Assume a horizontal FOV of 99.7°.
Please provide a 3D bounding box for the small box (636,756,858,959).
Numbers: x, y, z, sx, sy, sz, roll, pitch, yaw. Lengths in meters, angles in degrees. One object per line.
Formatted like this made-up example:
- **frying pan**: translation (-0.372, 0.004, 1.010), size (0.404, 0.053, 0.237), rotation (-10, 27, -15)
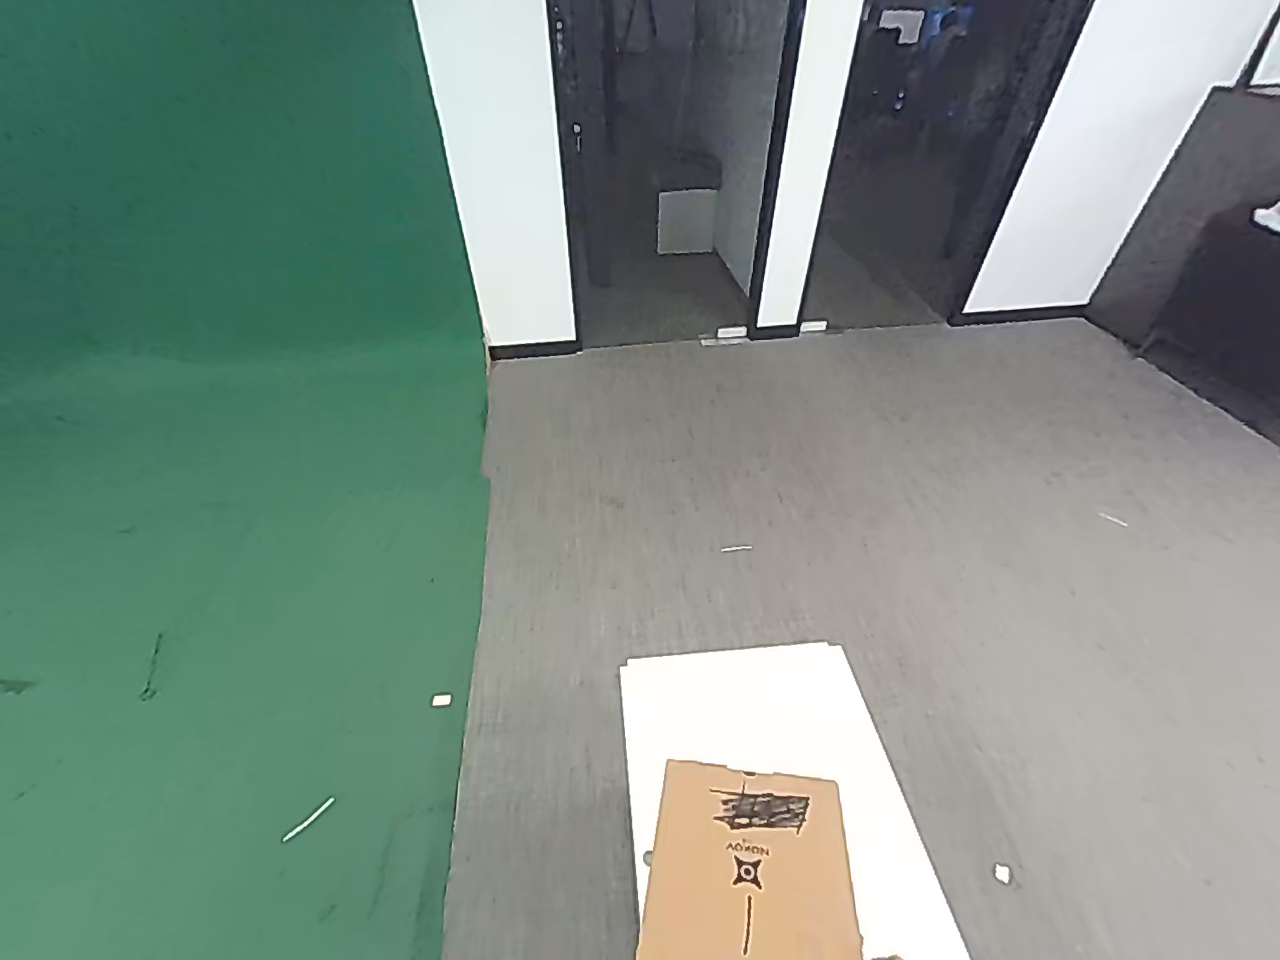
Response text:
- **small box**: translation (0.095, 0.395, 0.495), size (0.168, 0.176, 0.179), rotation (1, 26, 11)
